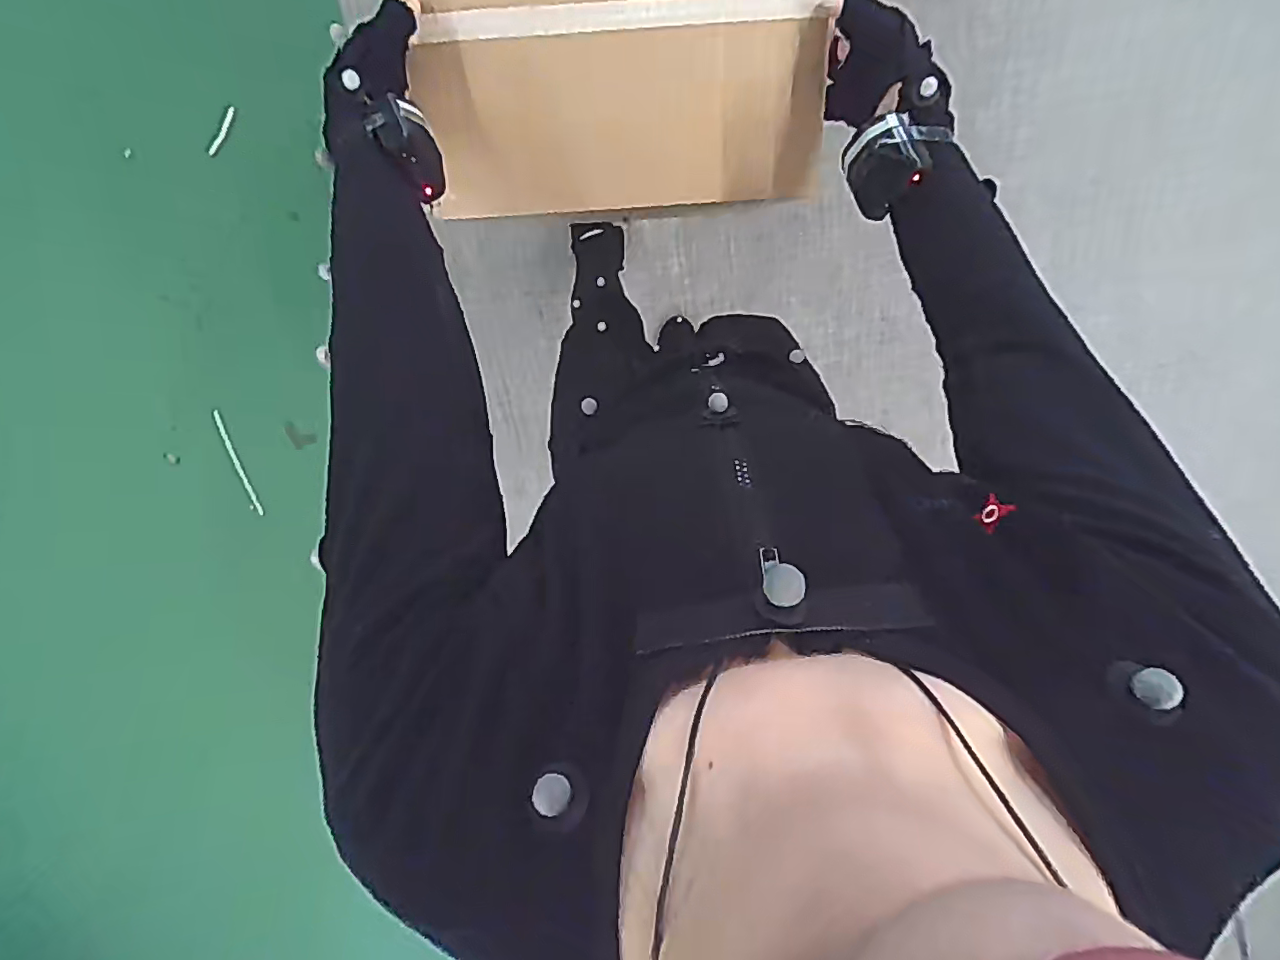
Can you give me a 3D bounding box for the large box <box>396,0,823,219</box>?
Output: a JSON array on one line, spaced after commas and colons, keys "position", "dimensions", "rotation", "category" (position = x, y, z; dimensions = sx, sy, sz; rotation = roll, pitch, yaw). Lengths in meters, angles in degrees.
[{"position": [-0.027, -0.495, 0.639], "dimensions": [0.408, 0.320, 0.320], "rotation": [-3, 113, 1], "category": "large box"}]
